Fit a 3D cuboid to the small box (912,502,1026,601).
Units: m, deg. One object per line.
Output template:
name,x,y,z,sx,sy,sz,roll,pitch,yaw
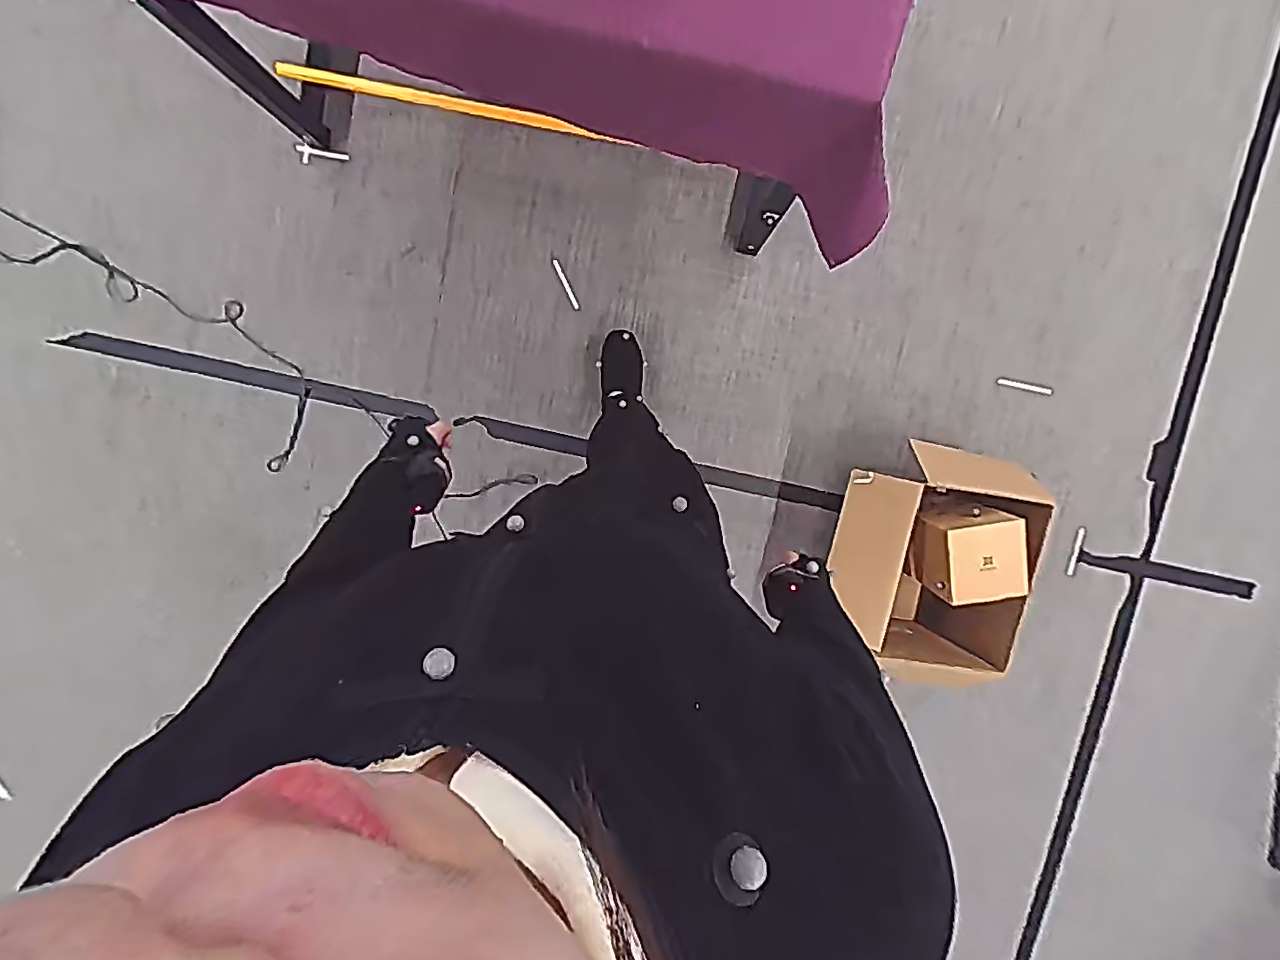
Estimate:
small box,0.748,0.155,1.246,0.168,0.176,0.179,-10,101,3
